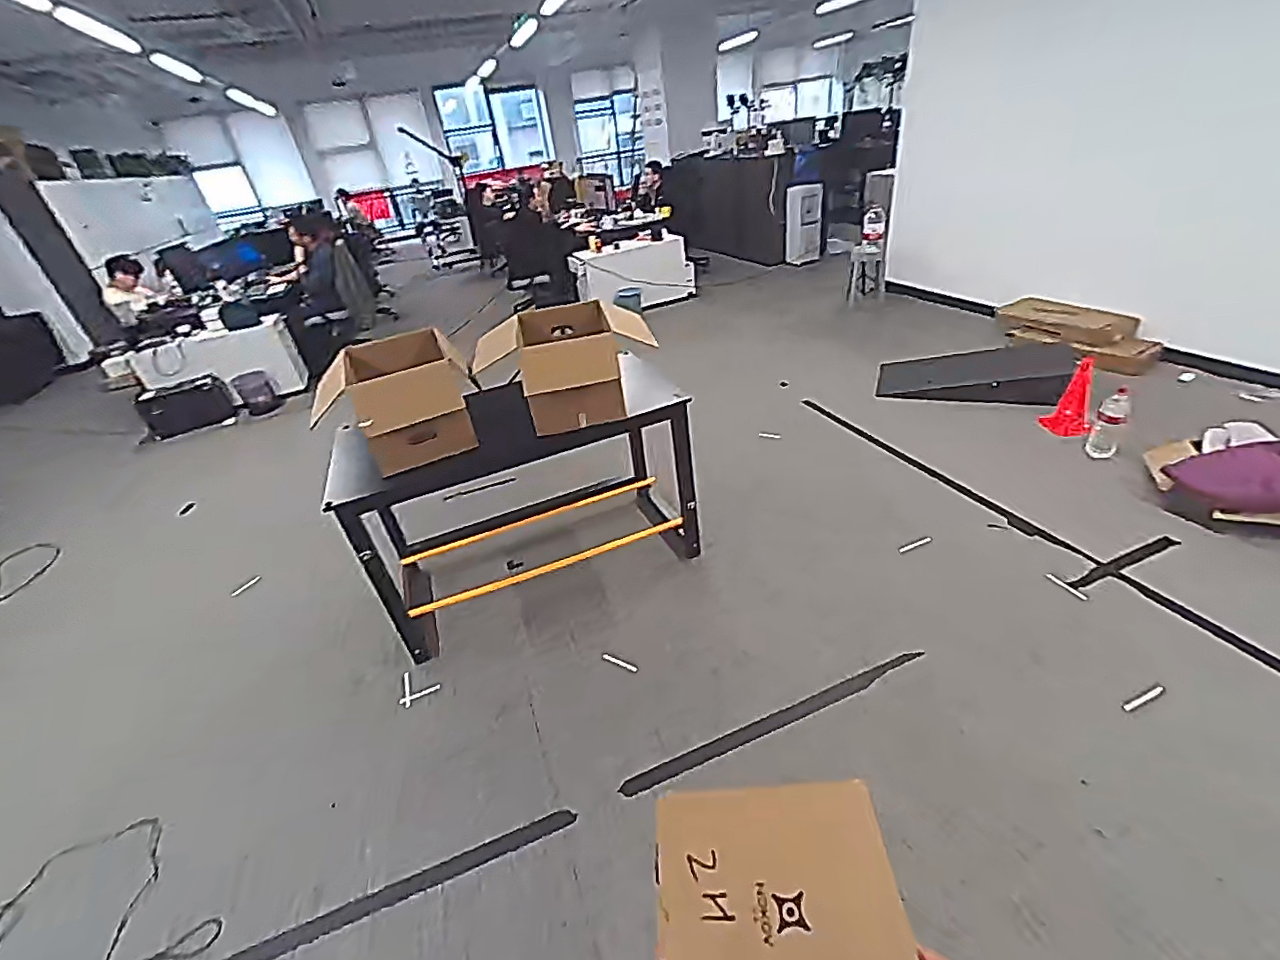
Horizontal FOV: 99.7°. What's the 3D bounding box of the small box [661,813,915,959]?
[{"bbox_3d":[0.115,0.391,0.440,0.179,0.176,0.168,-7,42,4],"label":"small box"}]
